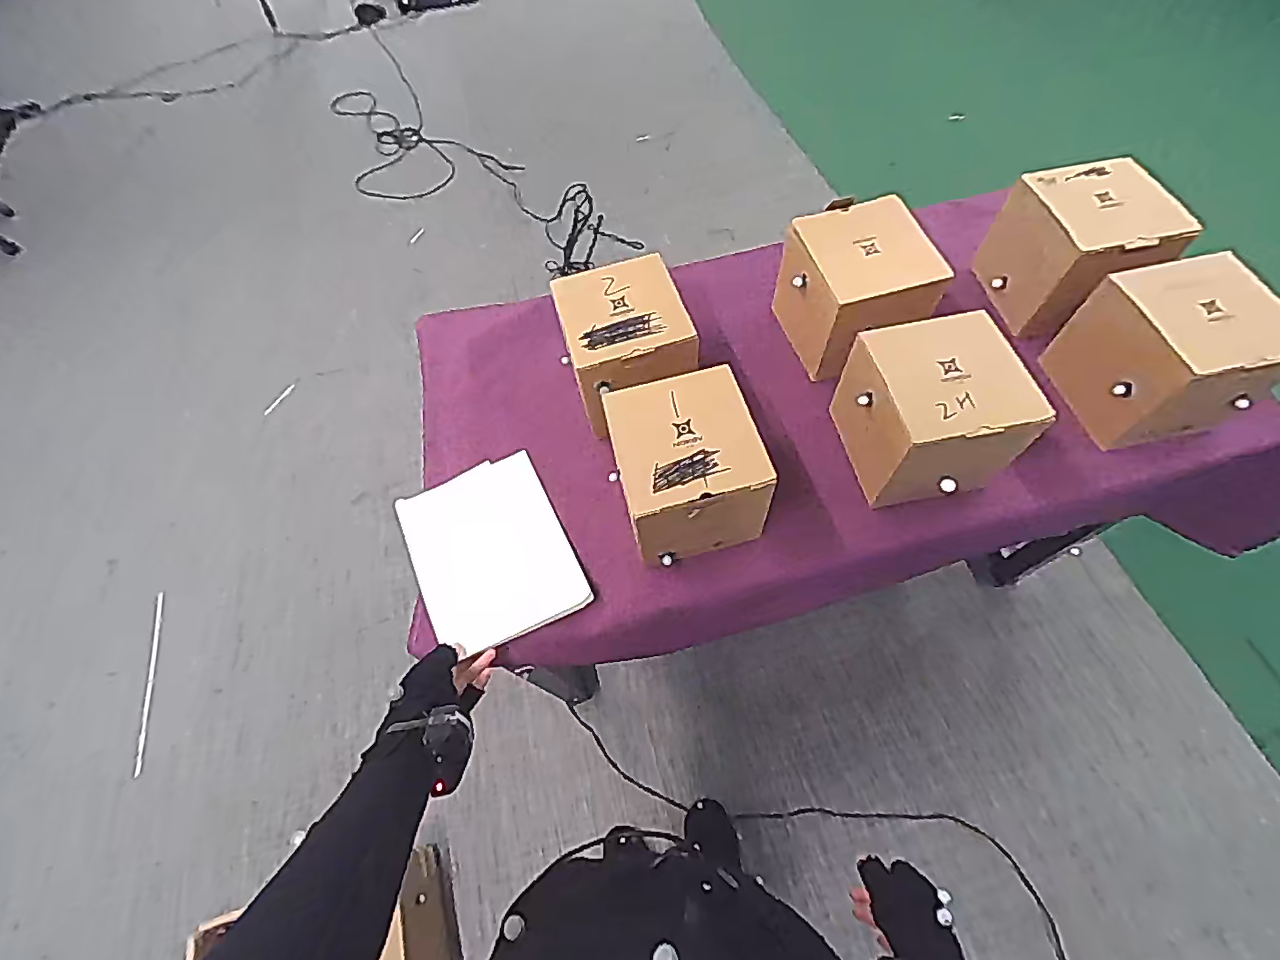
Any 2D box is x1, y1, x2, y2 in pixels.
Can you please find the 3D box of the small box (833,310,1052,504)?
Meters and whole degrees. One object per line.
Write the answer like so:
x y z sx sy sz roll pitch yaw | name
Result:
0.373 -0.091 0.712 0.168 0.176 0.179 -11 61 -1 | small box

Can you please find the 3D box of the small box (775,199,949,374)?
0.321 -0.283 0.824 0.168 0.176 0.179 -15 61 -3 | small box

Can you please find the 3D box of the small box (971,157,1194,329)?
0.654 -0.351 0.829 0.168 0.176 0.179 -9 62 0 | small box

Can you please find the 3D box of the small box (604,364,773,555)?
0.059 -0.016 0.698 0.168 0.176 0.179 -13 61 -2 | small box
